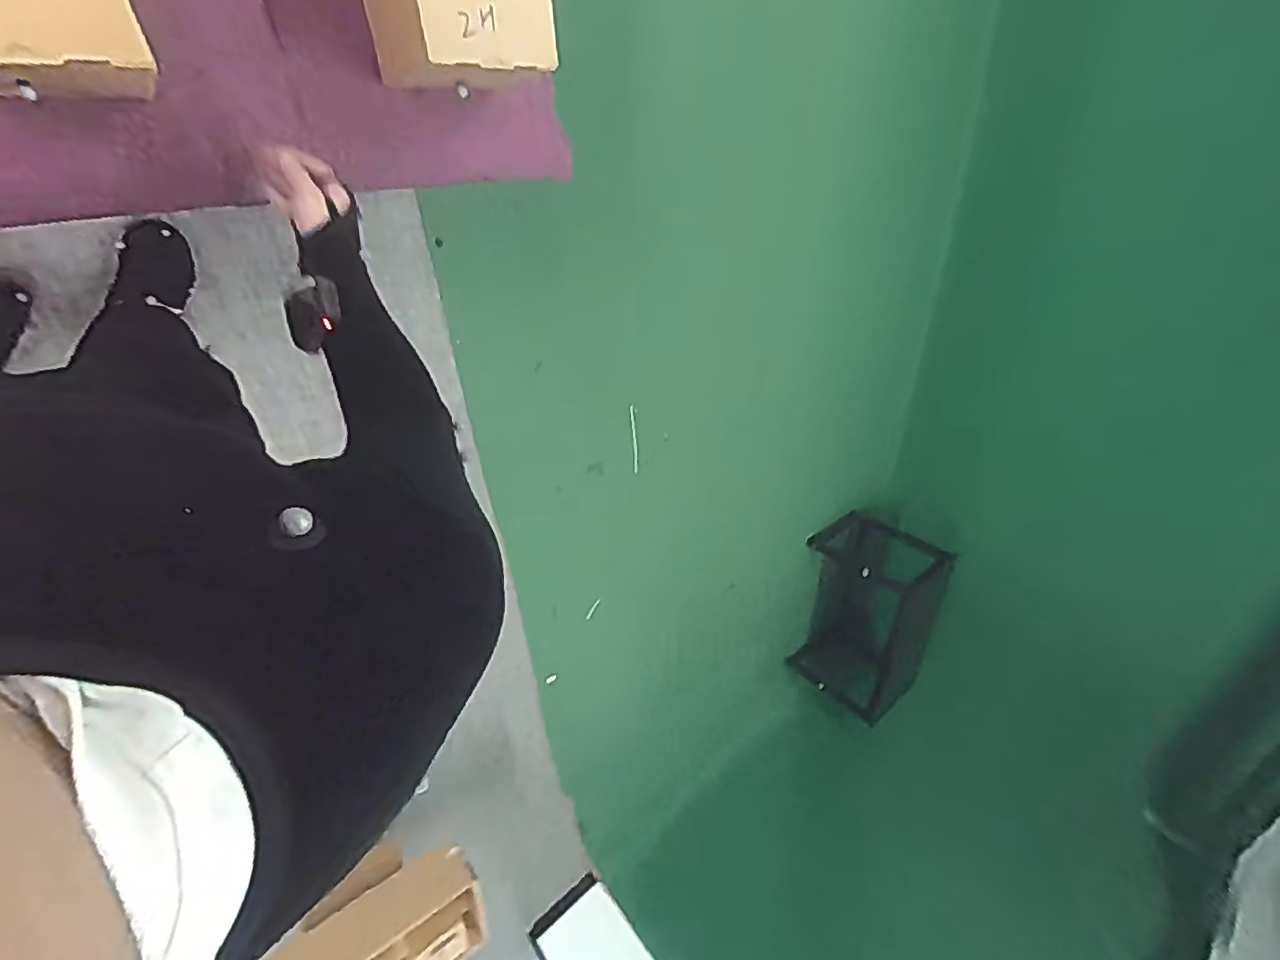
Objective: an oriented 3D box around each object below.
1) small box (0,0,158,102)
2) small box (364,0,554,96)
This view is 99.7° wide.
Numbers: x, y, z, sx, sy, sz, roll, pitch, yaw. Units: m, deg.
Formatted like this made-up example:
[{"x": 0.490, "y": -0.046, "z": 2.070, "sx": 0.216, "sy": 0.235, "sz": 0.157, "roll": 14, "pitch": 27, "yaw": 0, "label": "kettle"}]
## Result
[{"x": -0.537, "y": -0.424, "z": 0.438, "sx": 0.168, "sy": 0.176, "sz": 0.179, "roll": -26, "pitch": 127, "yaw": -32, "label": "small box"}, {"x": -0.225, "y": -0.579, "z": 0.643, "sx": 0.168, "sy": 0.176, "sz": 0.179, "roll": -24, "pitch": 125, "yaw": -31, "label": "small box"}]
